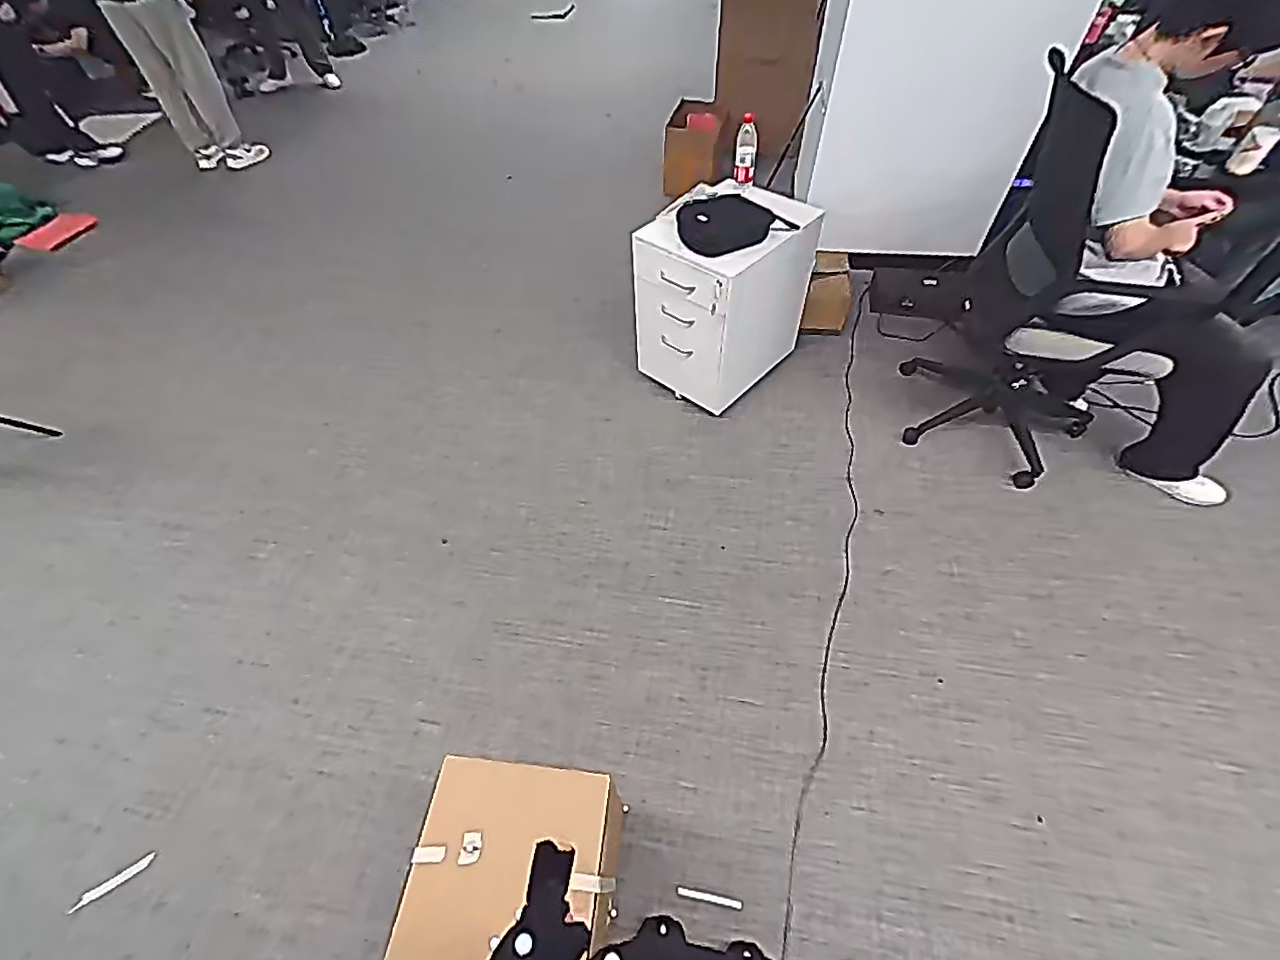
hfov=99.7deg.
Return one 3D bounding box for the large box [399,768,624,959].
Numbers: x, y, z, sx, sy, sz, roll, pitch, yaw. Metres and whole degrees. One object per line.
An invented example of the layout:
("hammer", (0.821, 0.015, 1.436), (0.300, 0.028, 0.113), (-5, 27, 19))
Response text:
("large box", (-0.208, 0.766, 1.041), (0.320, 0.408, 0.320), (5, 54, 5))
